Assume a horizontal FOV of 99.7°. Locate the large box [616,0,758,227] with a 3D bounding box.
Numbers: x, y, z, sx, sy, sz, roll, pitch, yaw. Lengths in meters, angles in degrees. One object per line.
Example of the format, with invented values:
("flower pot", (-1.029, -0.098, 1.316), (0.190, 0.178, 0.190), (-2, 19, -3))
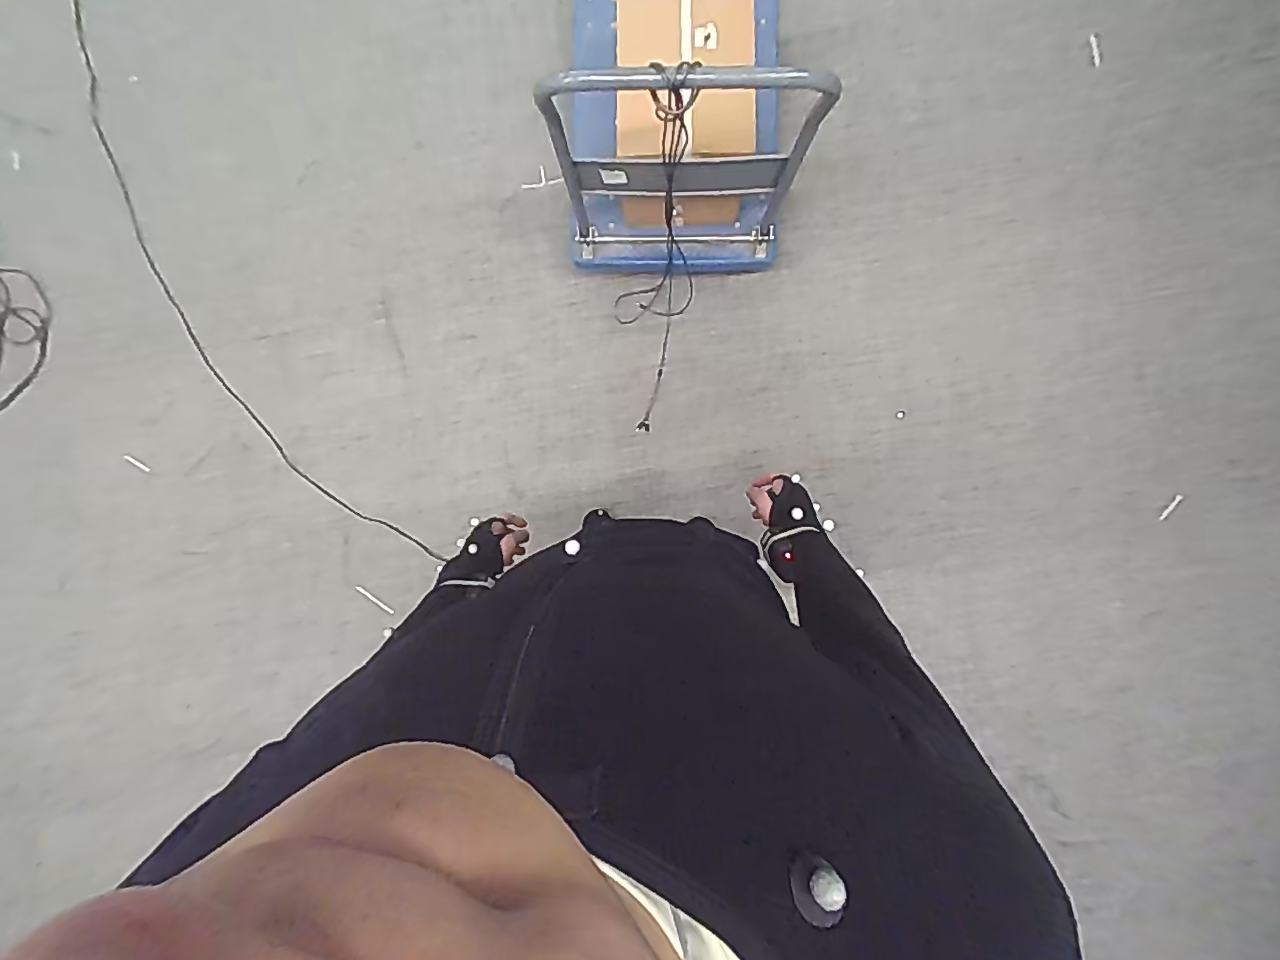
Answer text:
("large box", (0.111, -0.905, 1.353), (0.320, 0.320, 0.408), (0, 88, 2))
